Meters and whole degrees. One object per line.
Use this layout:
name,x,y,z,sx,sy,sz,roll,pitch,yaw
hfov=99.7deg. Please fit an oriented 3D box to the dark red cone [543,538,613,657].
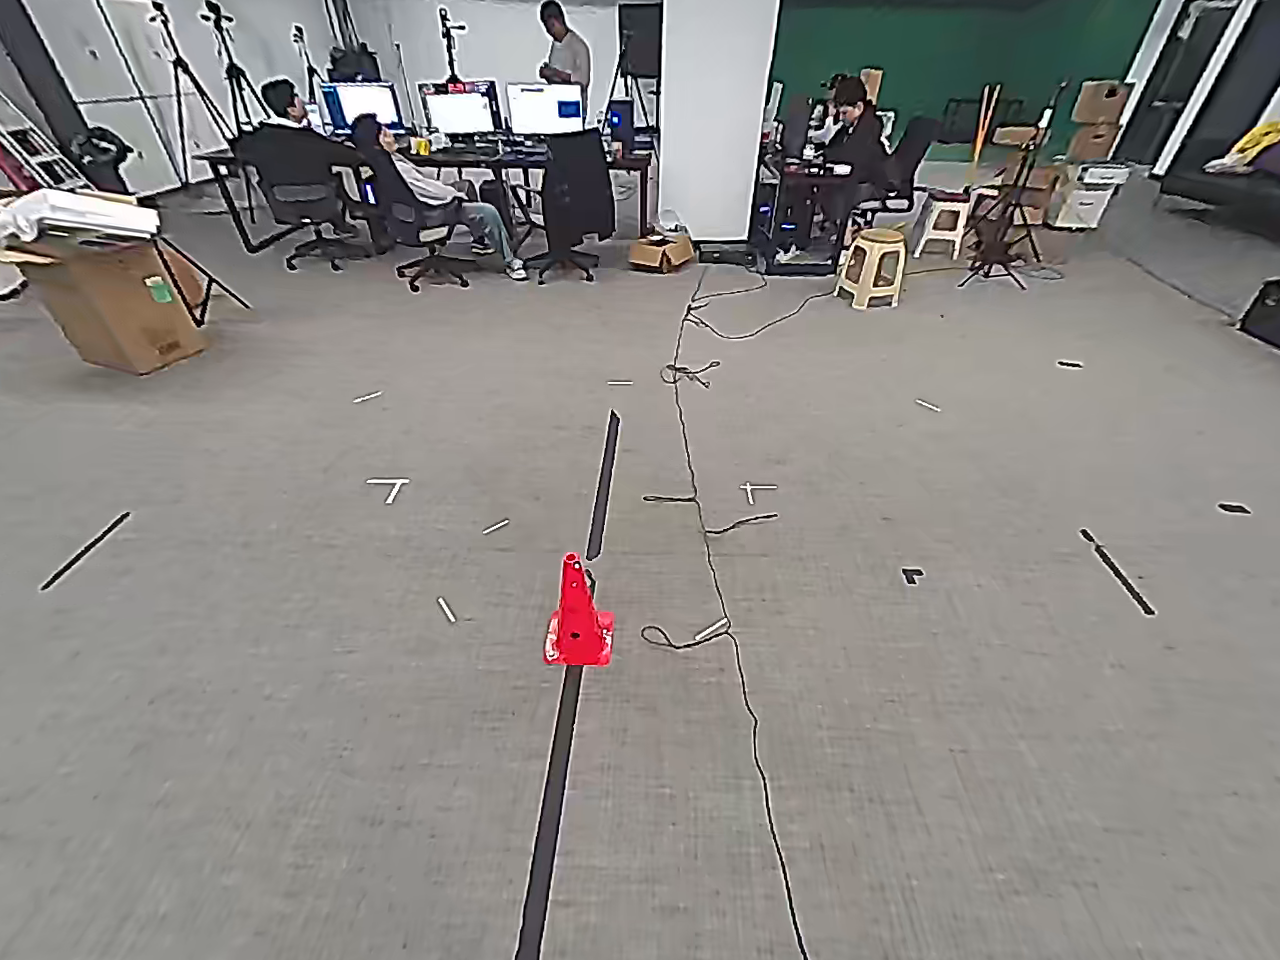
dark red cone,-0.181,0.324,1.555,0.201,0.394,0.202,2,38,0
